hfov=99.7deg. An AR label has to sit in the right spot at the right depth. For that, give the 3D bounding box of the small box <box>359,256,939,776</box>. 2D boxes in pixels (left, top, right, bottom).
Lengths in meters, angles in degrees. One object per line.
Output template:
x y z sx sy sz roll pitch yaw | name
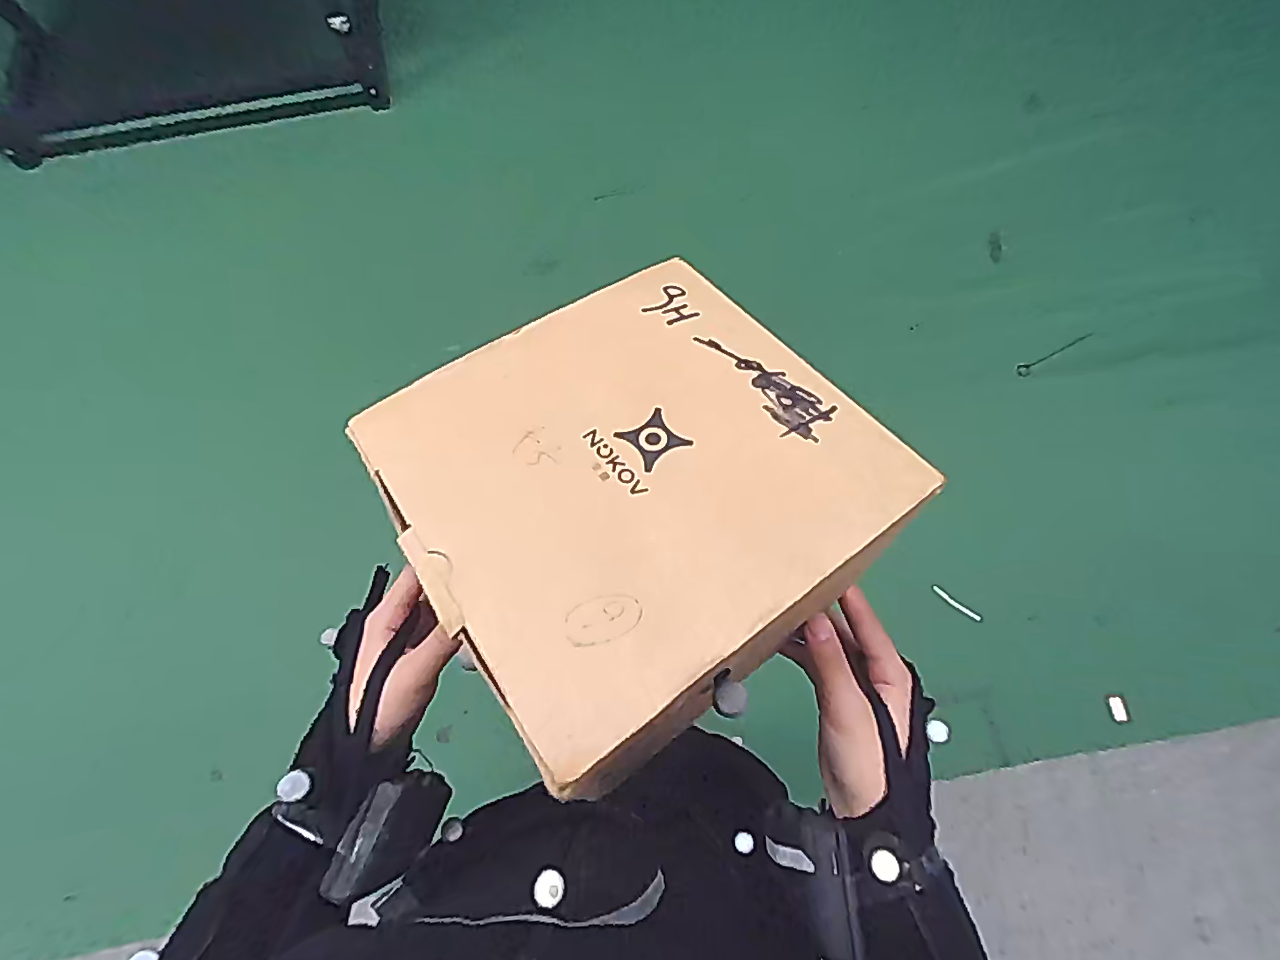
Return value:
0.001 0.028 0.281 0.179 0.176 0.168 -33 64 -16 | small box
